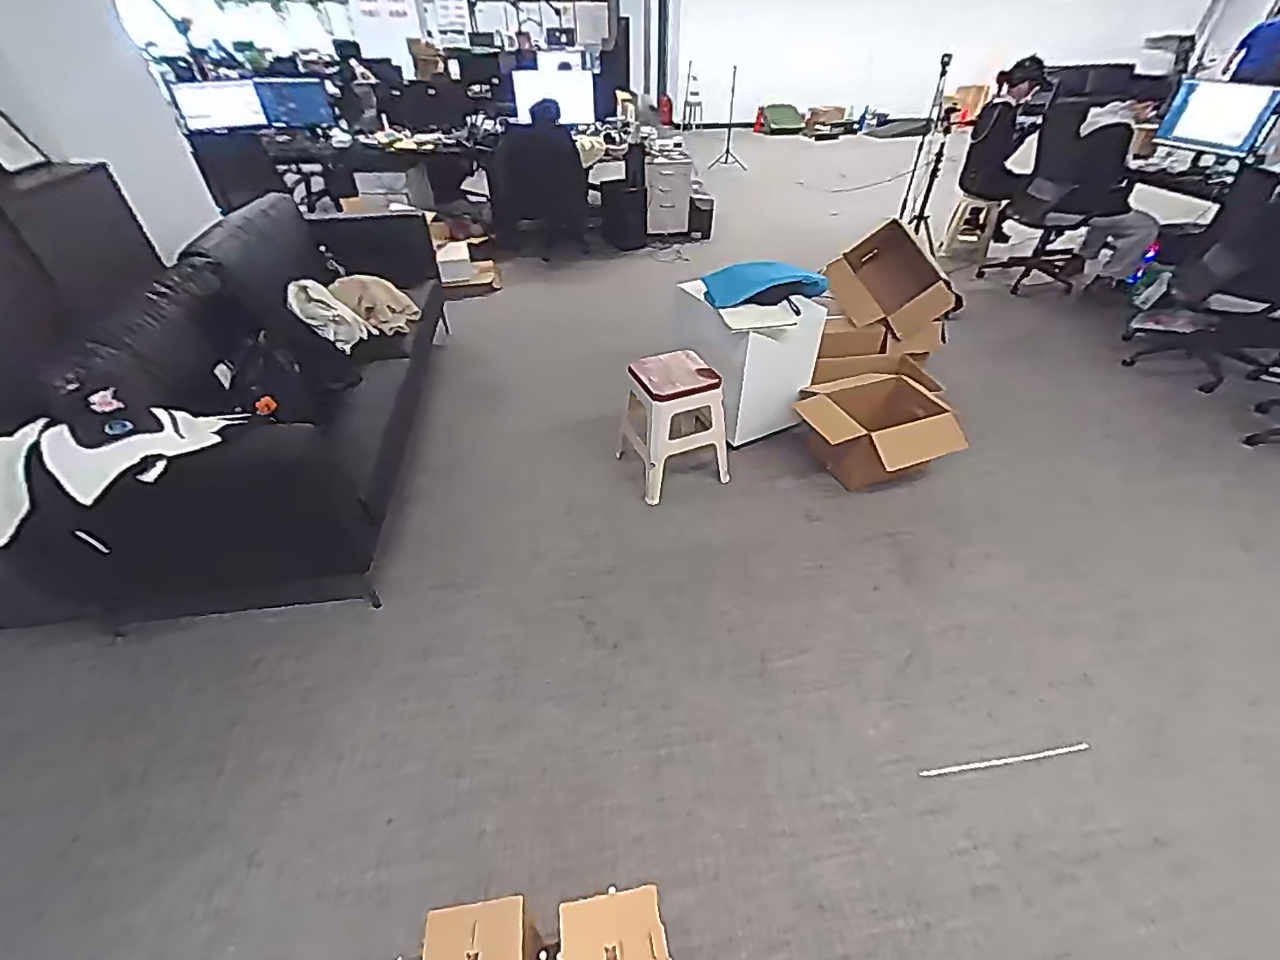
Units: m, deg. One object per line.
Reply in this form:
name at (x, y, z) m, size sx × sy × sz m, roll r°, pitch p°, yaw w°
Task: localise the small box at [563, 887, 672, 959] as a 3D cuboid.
small box at (-0.034, 0.846, 0.939) m, size 0.179 × 0.176 × 0.168 m, roll -7°, pitch 41°, yaw -8°
